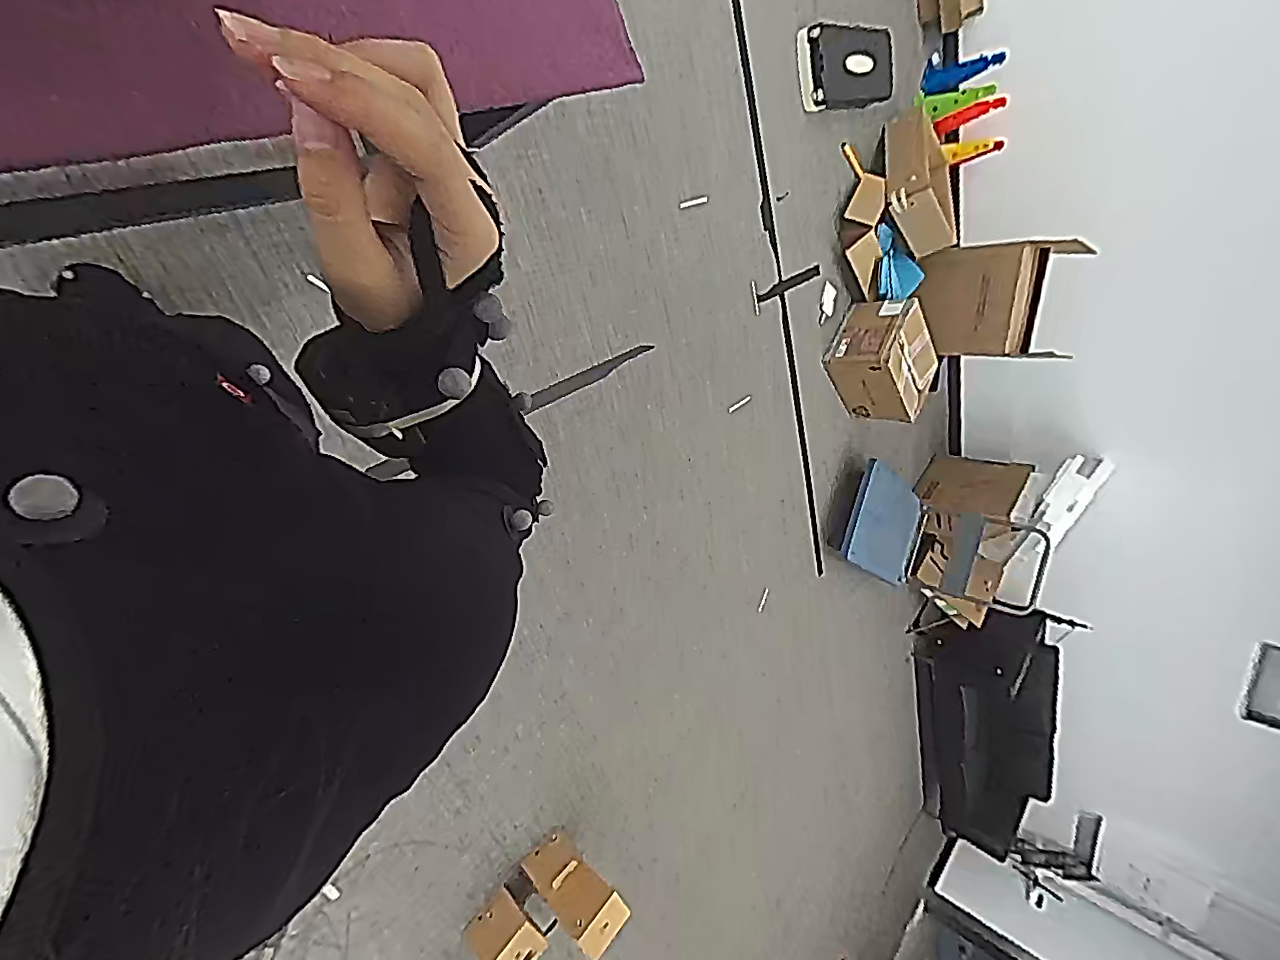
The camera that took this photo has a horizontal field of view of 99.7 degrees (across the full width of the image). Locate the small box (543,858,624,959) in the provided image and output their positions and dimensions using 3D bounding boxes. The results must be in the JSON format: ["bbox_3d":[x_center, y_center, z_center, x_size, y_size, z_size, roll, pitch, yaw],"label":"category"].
[{"bbox_3d":[-0.189,1.406,1.785,0.179,0.176,0.168,-39,124,-31],"label":"small box"}]

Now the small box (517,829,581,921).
[{"bbox_3d":[-0.304,1.374,1.895,0.168,0.176,0.179,-32,121,-35],"label":"small box"}]
